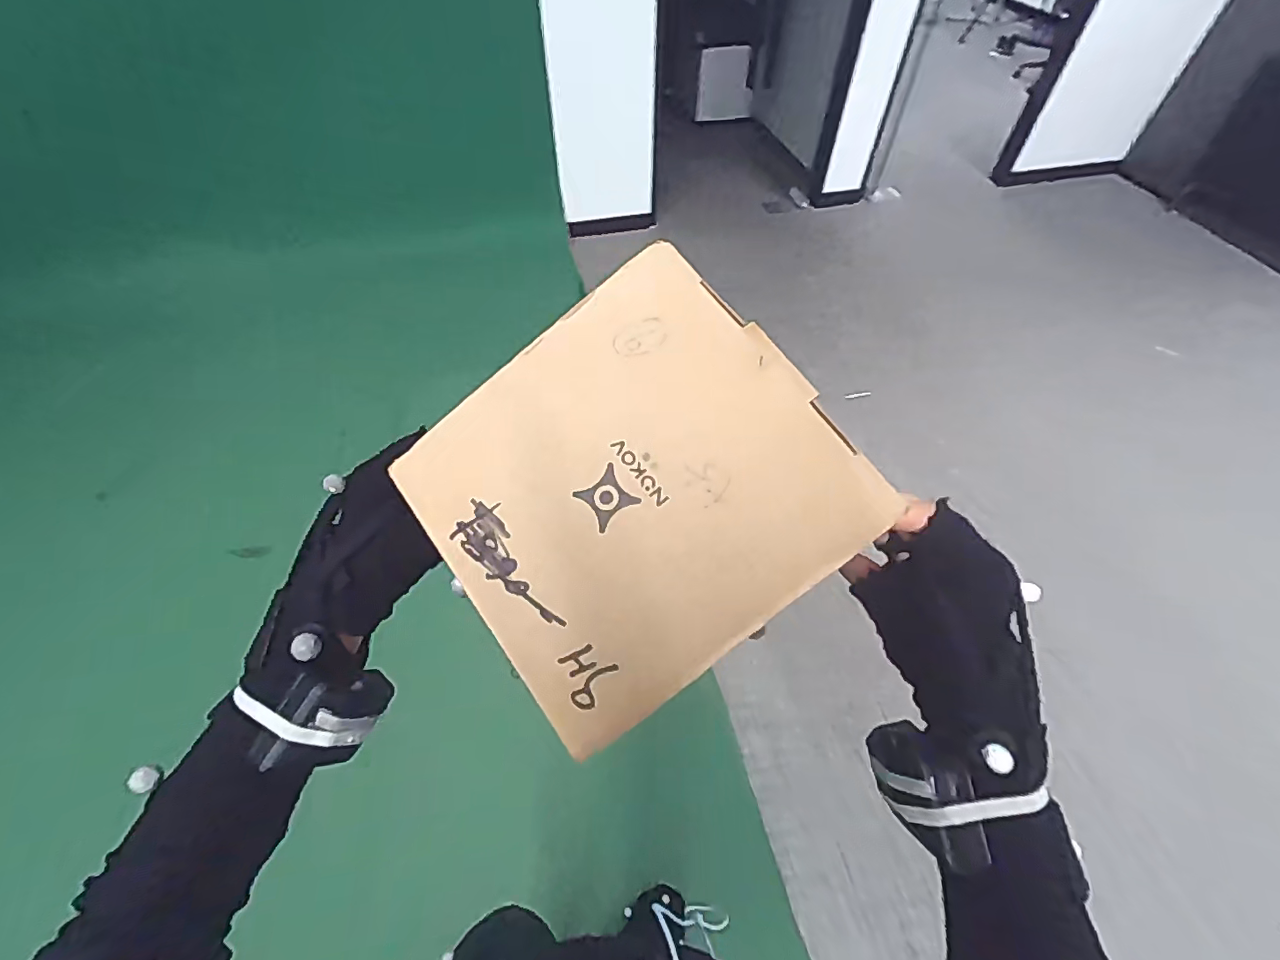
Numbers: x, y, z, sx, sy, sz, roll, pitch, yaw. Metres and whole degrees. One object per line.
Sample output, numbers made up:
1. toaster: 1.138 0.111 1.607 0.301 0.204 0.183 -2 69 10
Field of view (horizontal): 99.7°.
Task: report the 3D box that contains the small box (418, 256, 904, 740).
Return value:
1. small box: 0.014 0.014 0.330 0.179 0.176 0.168 -38 76 3
